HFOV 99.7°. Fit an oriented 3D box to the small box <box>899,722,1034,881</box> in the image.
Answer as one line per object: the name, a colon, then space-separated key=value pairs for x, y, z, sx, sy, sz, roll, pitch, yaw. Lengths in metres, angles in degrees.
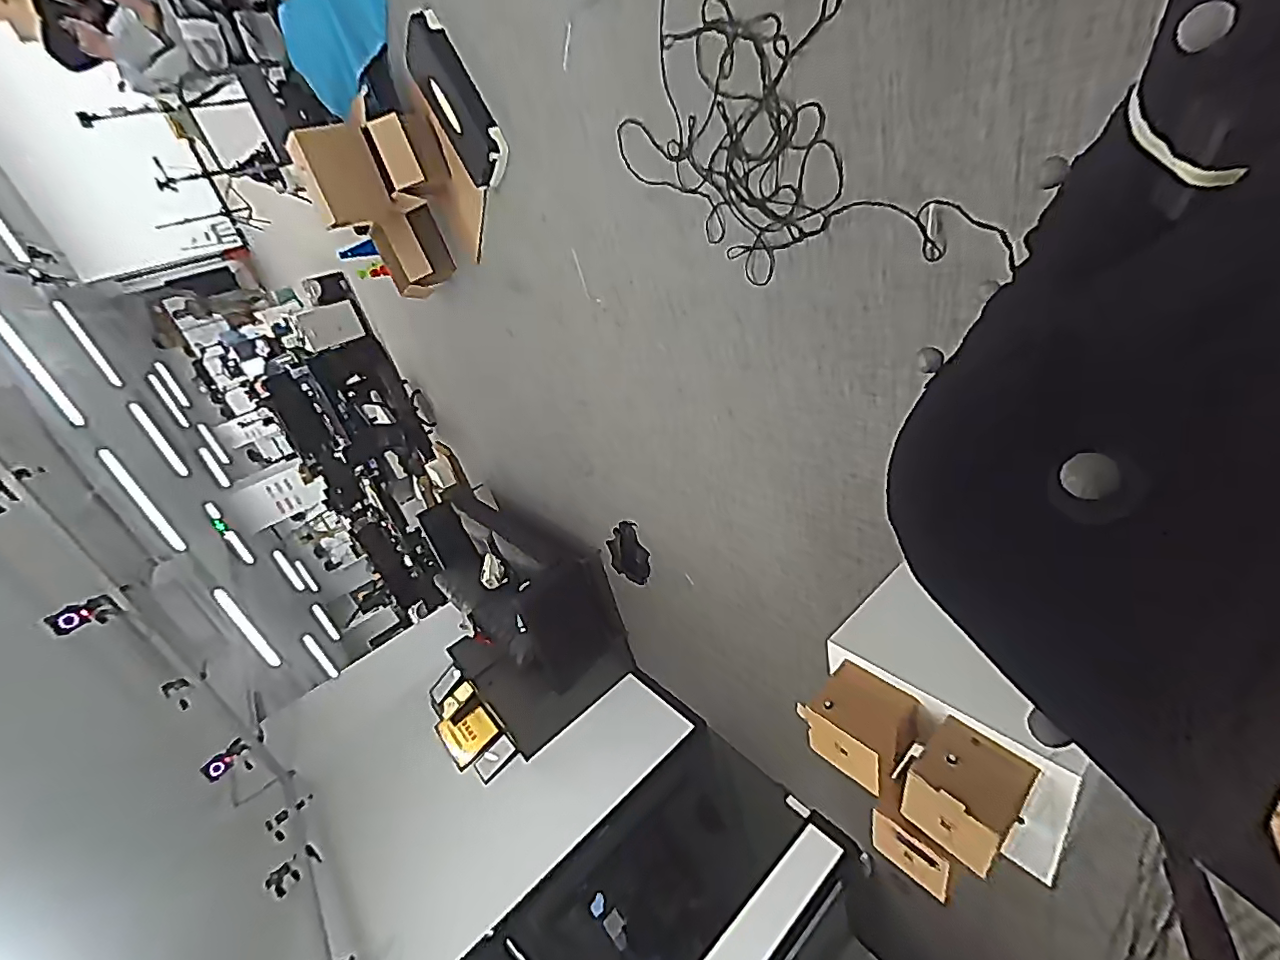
small box: x=0.636 y=0.619 z=1.058 sx=0.168 sy=0.176 sz=0.179 roll=28 pitch=141 yaw=46
